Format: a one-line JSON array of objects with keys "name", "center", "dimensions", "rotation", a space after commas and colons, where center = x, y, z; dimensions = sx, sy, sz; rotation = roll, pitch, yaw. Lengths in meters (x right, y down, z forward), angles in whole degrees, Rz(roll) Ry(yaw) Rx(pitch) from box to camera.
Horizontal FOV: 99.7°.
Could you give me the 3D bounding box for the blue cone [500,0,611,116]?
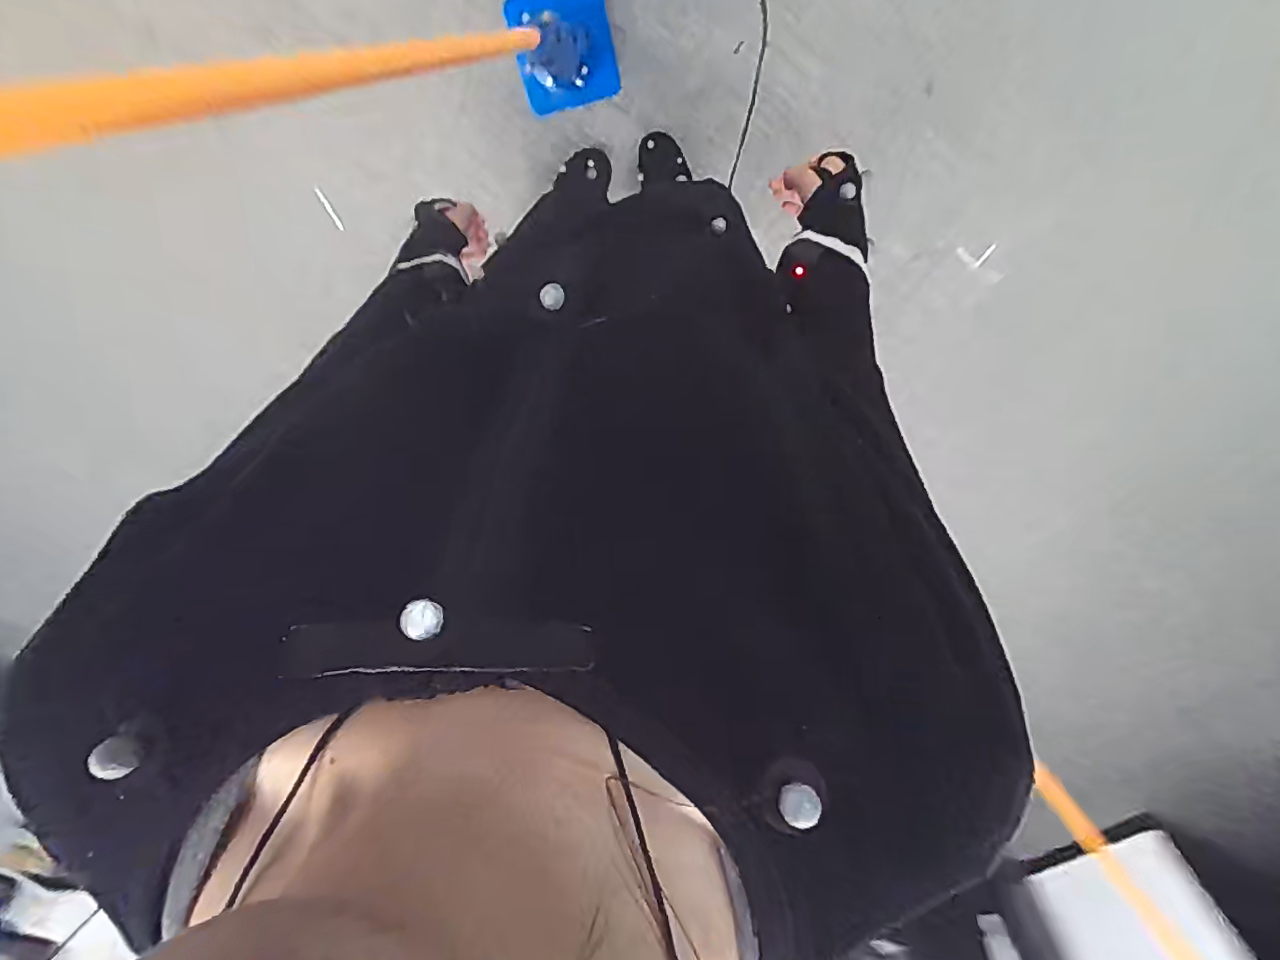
[{"name": "blue cone", "center": [-0.168, -0.746, 0.938], "dimensions": [0.193, 0.380, 0.192], "rotation": [-11, 126, 11]}]
